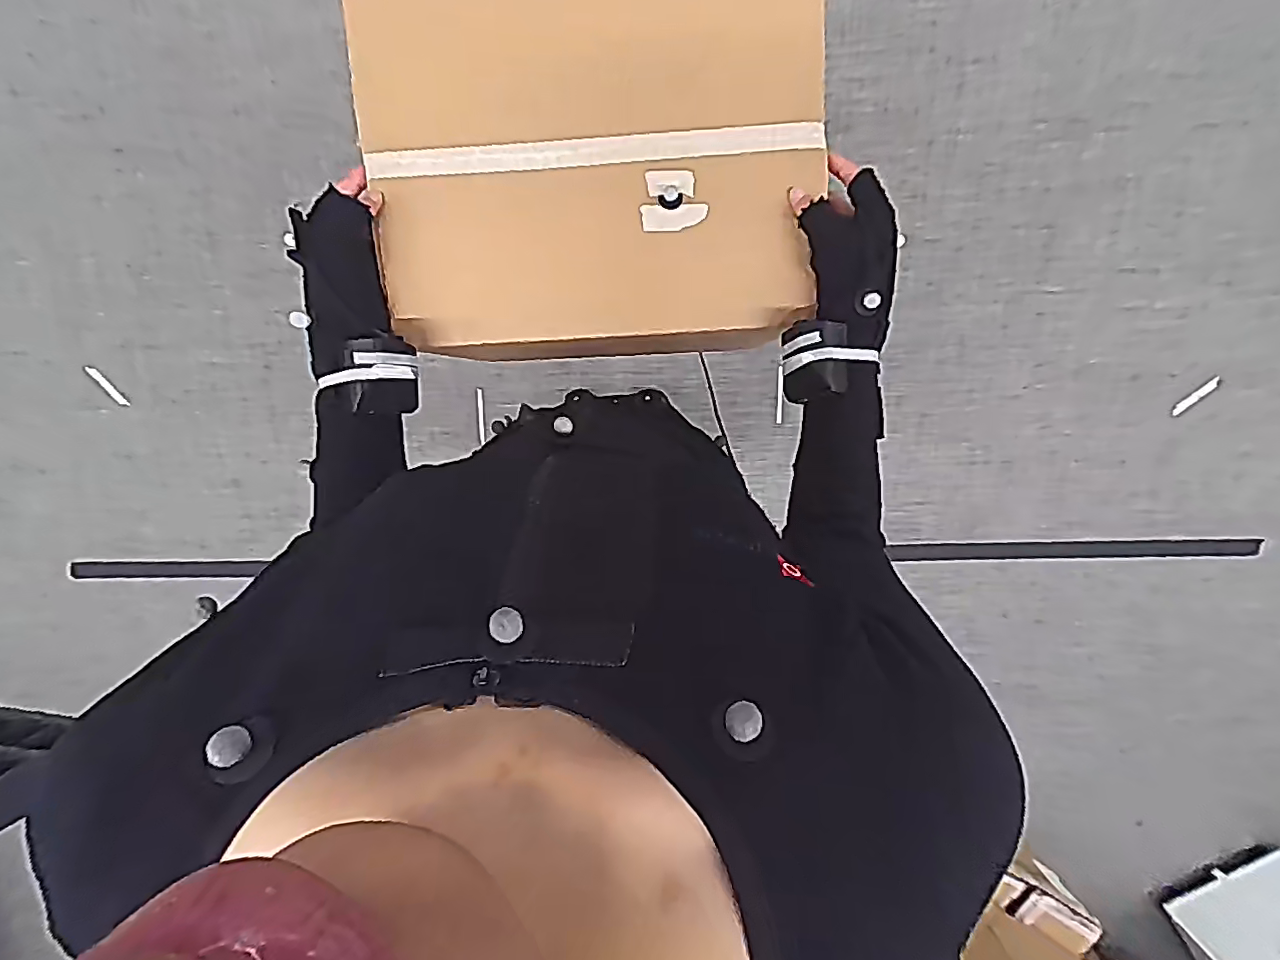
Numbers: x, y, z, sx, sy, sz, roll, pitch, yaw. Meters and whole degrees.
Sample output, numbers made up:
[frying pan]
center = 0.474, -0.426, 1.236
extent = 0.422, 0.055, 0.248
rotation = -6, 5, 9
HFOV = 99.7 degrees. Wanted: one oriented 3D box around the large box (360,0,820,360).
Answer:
[large box]
center = -0.039, -0.320, 0.635
extent = 0.408, 0.320, 0.320
rotation = -3, 100, 1
